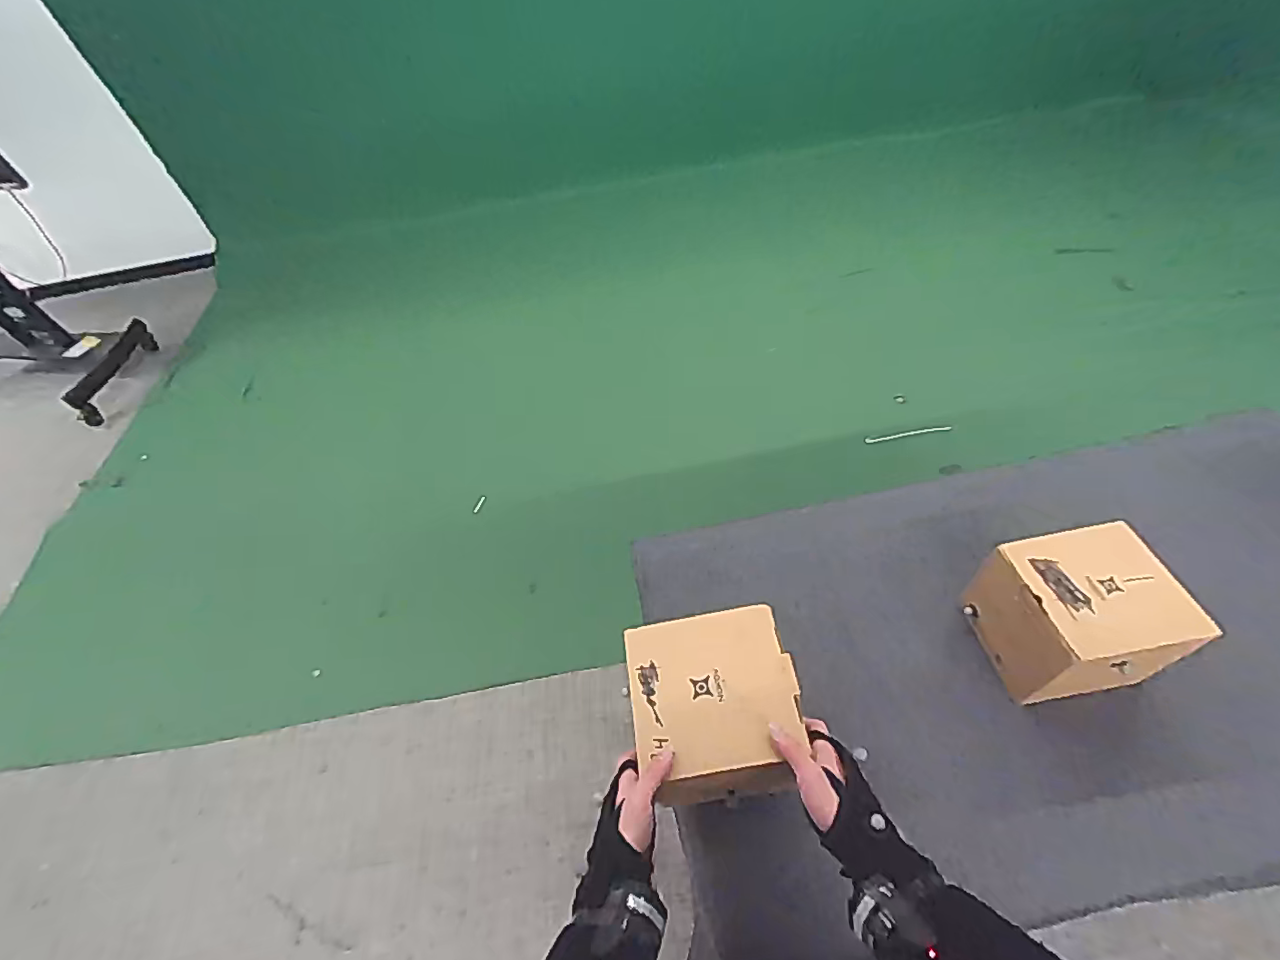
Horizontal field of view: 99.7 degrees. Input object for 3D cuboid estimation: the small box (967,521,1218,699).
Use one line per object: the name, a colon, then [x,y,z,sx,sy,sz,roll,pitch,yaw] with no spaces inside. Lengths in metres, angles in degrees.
small box: [0.580,0.181,0.732,0.179,0.176,0.168,-10,51,-1]

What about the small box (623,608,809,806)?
small box: [0.083,0.272,0.637,0.179,0.176,0.168,-10,51,3]
